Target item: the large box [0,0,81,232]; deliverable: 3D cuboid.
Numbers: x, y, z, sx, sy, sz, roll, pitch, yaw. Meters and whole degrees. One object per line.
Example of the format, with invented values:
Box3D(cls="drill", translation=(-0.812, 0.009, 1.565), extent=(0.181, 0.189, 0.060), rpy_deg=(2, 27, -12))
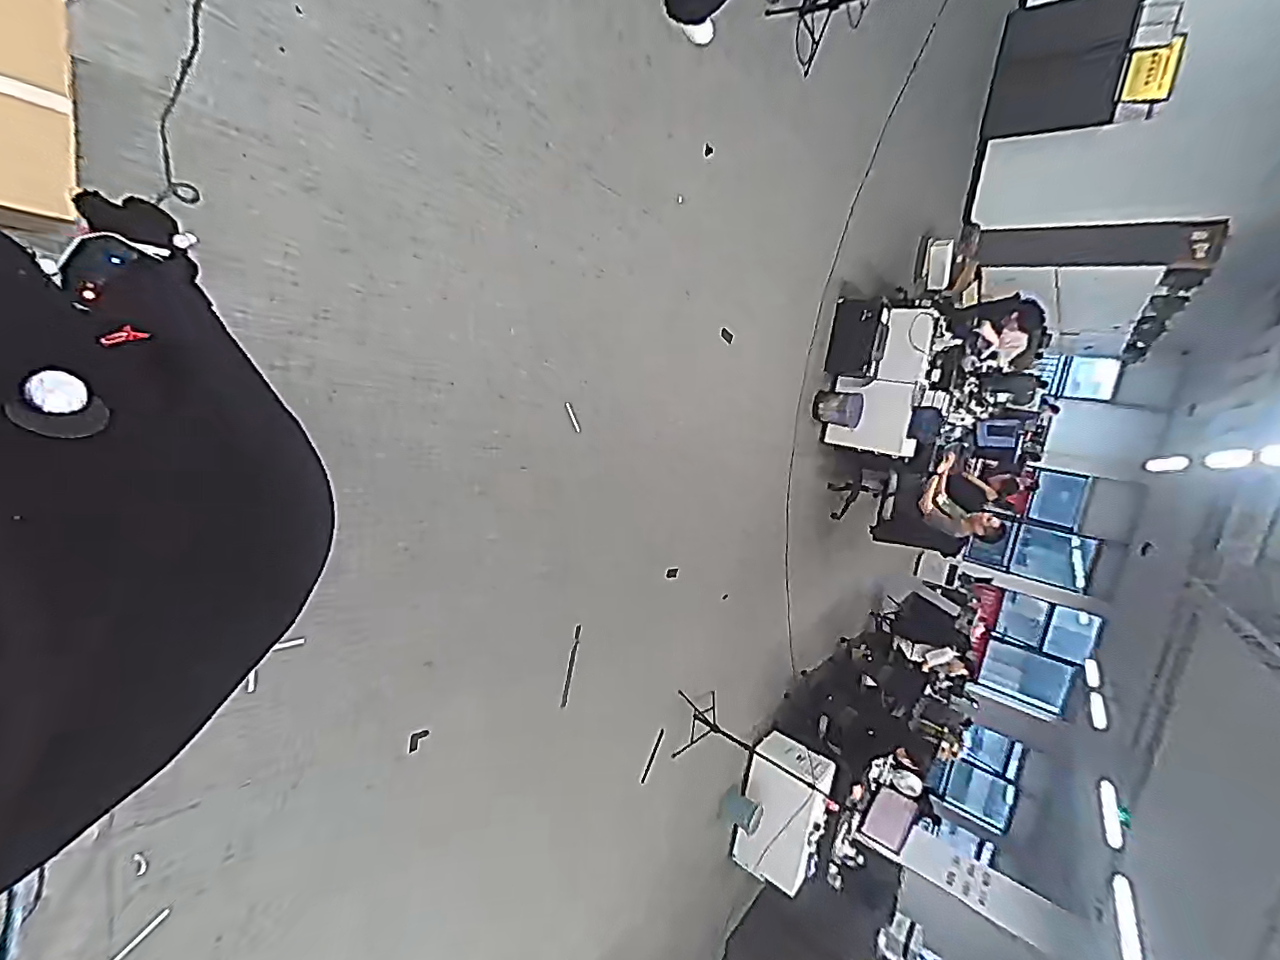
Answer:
Box3D(cls="large box", translation=(-1.066, -0.554, 0.719), extent=(0.408, 0.320, 0.320), rpy_deg=(-6, 108, -52))
